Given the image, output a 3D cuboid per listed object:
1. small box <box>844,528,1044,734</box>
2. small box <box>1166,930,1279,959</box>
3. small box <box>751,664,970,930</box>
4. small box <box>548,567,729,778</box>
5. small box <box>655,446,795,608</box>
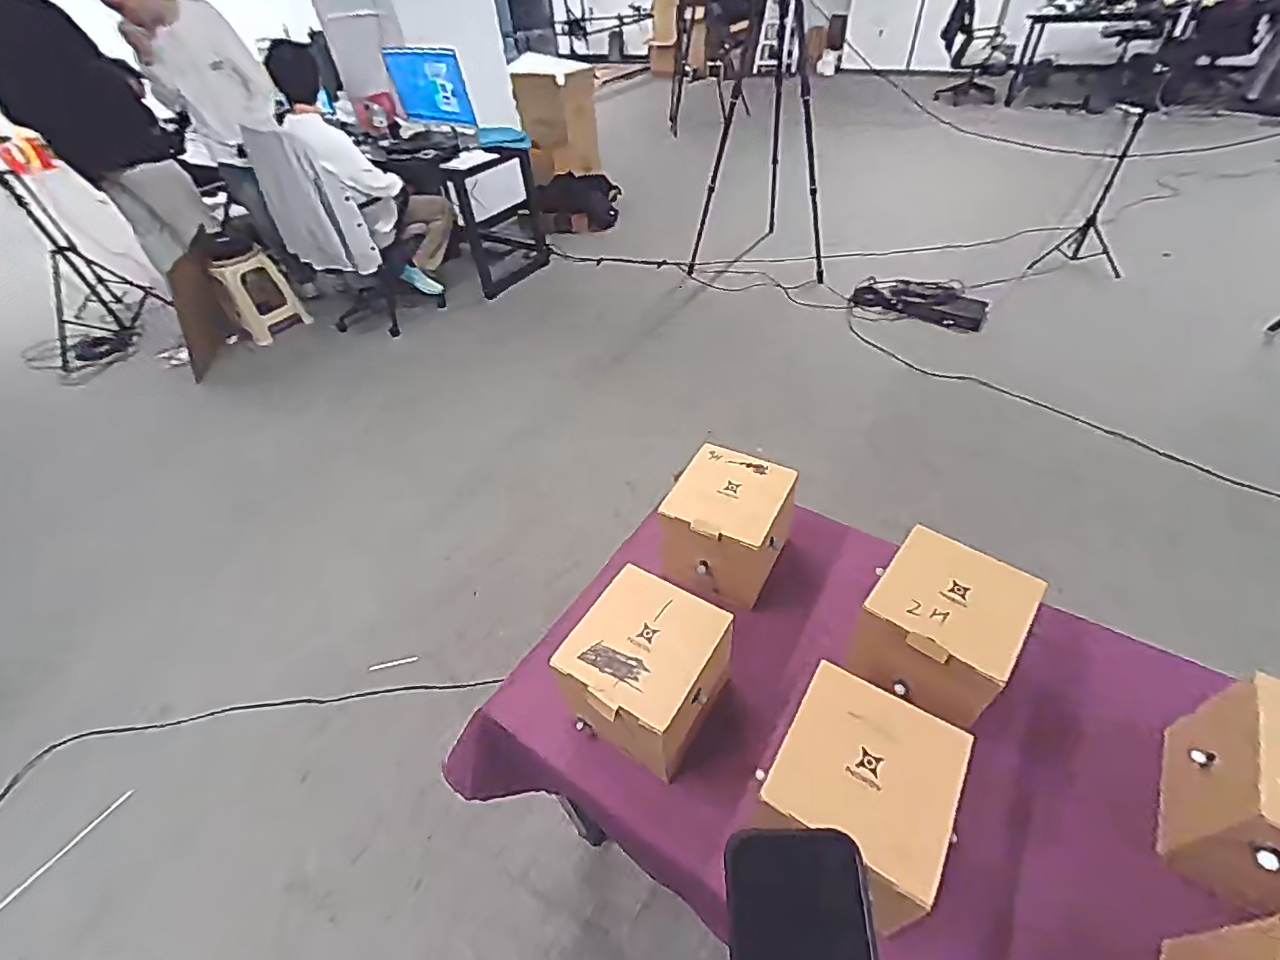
[{"bbox_3d":[0.399,0.205,0.734,0.168,0.176,0.179,29,55,31],"label":"small box"},{"bbox_3d":[0.541,0.502,0.417,0.168,0.176,0.179,27,54,30],"label":"small box"},{"bbox_3d":[0.234,0.352,0.604,0.168,0.176,0.179,24,51,26],"label":"small box"},{"bbox_3d":[0.006,0.257,0.724,0.168,0.176,0.179,23,50,26],"label":"small box"},{"bbox_3d":[0.142,0.079,0.891,0.168,0.176,0.179,20,51,24],"label":"small box"}]
